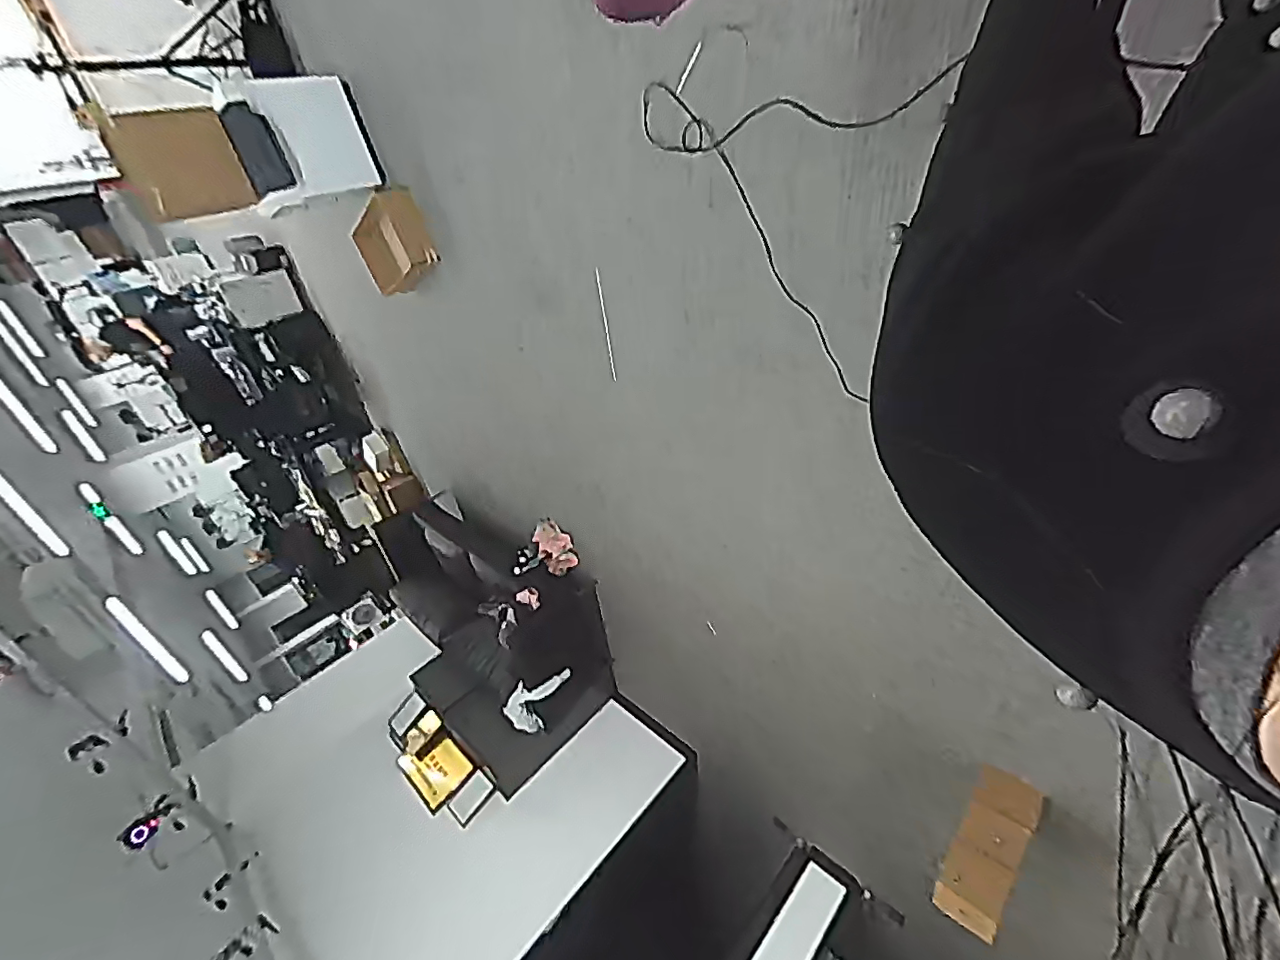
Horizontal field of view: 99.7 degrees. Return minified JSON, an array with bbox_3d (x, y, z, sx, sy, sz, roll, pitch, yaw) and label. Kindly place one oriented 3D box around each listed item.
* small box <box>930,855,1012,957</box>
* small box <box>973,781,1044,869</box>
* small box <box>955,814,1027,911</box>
[{"bbox_3d":[1.061,1.353,1.735,0.179,0.176,0.168,18,131,41],"label":"small box"},{"bbox_3d":[1.297,1.213,1.918,0.179,0.176,0.168,17,130,41],"label":"small box"},{"bbox_3d":[1.180,1.282,1.825,0.179,0.176,0.168,17,129,42],"label":"small box"}]
